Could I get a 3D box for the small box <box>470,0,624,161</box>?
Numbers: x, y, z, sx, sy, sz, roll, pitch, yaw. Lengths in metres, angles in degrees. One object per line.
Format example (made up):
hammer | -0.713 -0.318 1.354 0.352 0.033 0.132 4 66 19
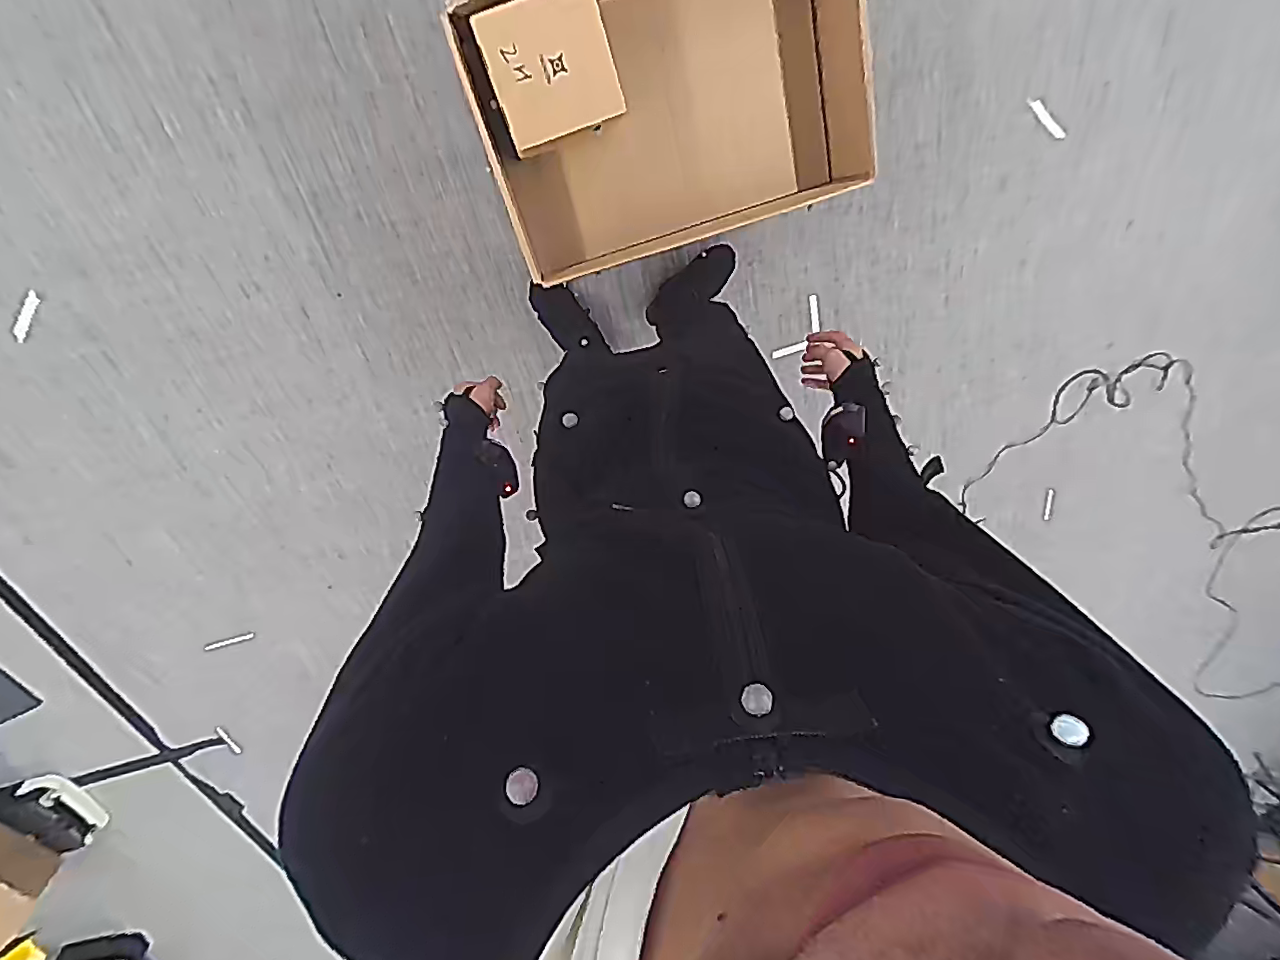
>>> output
small box | -0.141 -0.613 0.833 0.179 0.176 0.168 -20 117 0
